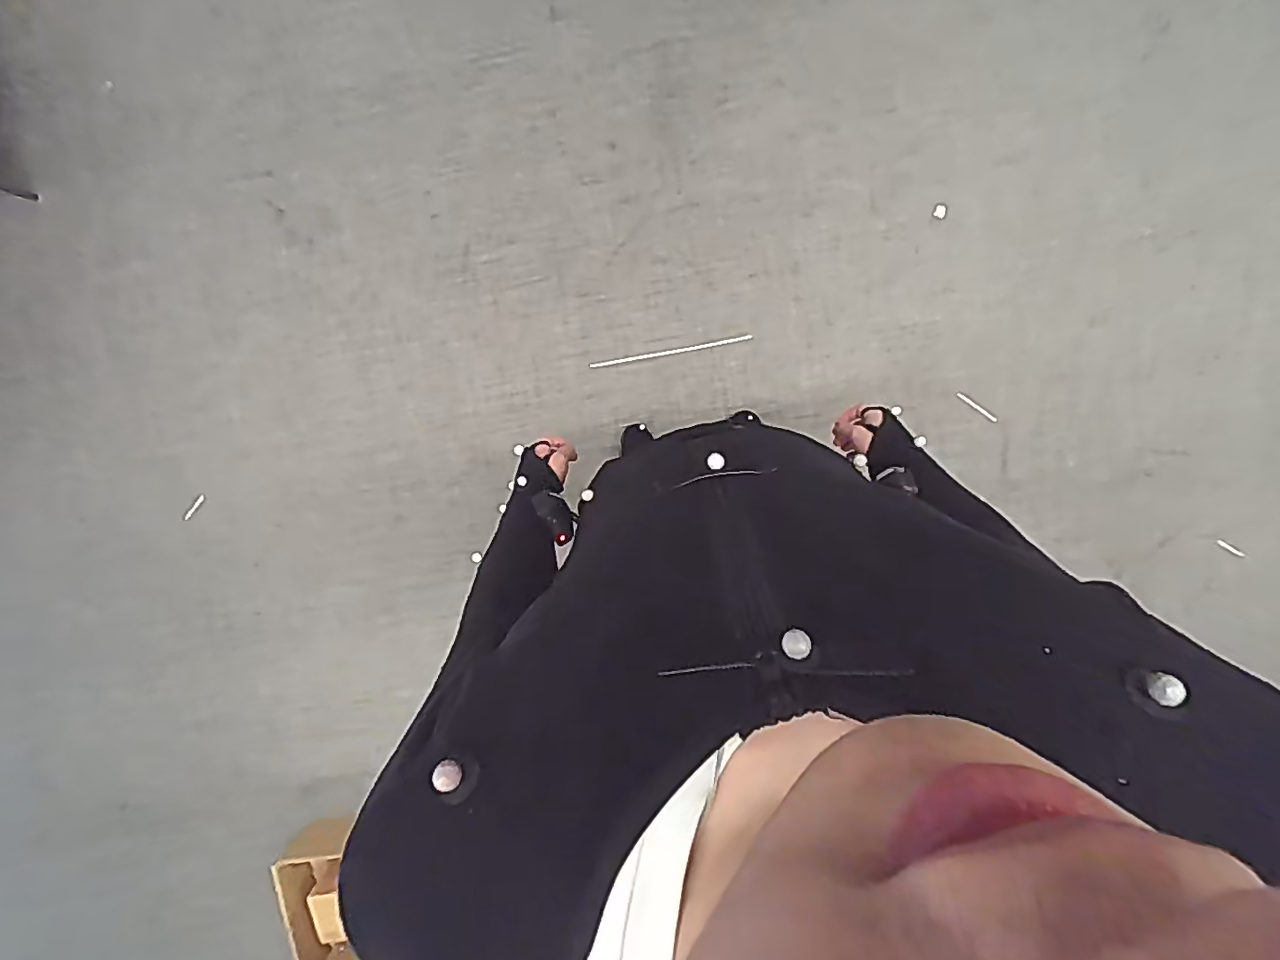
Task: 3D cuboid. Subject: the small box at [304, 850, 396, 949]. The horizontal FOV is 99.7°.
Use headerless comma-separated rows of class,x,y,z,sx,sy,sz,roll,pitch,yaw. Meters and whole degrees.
small box,-0.898,1.302,1.688,0.179,0.176,0.168,-10,97,1
